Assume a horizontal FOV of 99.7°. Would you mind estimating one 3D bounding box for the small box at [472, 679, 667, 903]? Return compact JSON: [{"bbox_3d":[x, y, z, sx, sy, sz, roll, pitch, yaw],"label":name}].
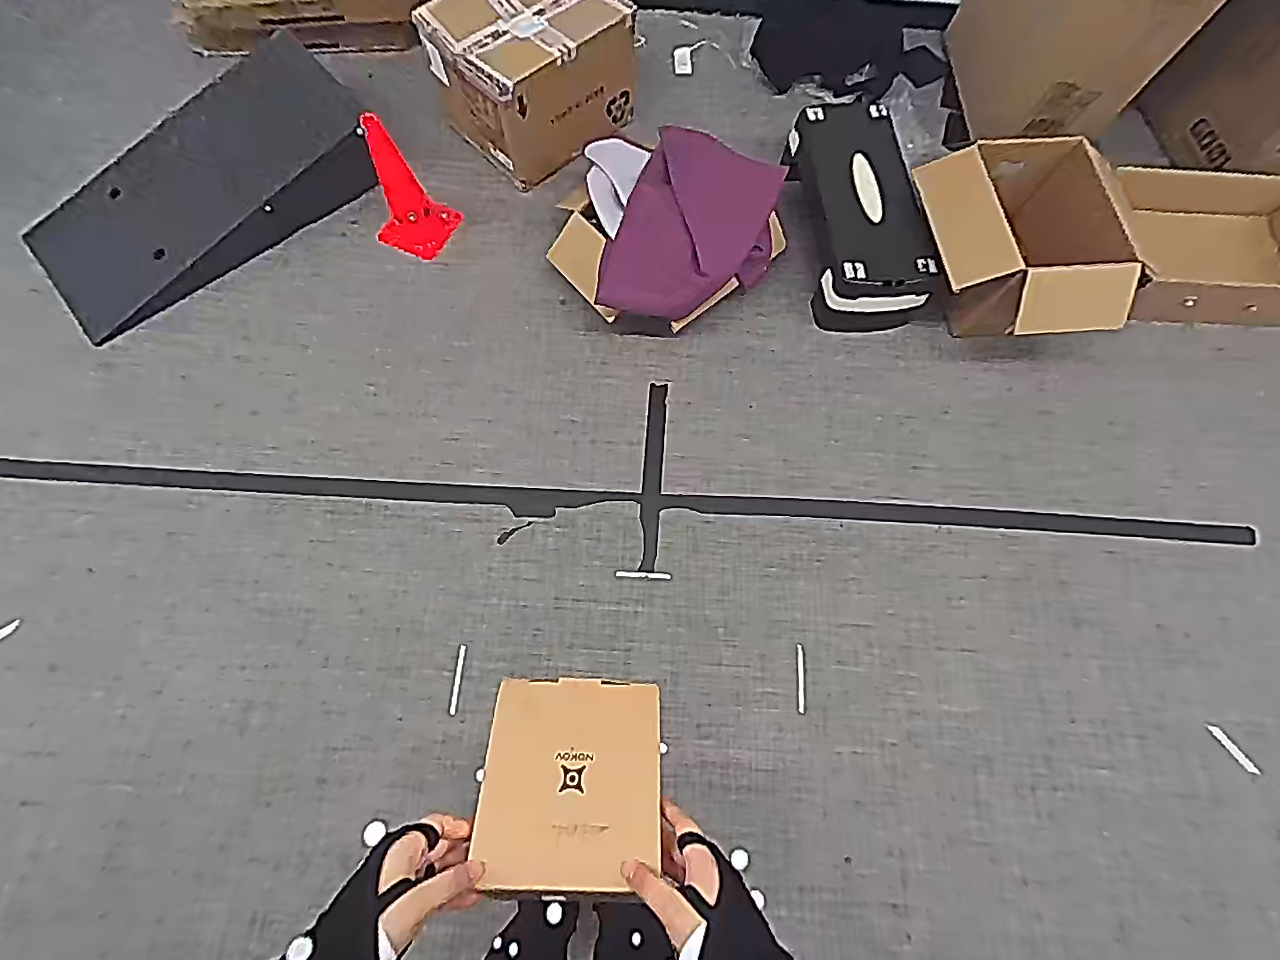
[{"bbox_3d":[-0.063,0.325,0.562,0.168,0.176,0.179,3,51,-3],"label":"small box"}]
